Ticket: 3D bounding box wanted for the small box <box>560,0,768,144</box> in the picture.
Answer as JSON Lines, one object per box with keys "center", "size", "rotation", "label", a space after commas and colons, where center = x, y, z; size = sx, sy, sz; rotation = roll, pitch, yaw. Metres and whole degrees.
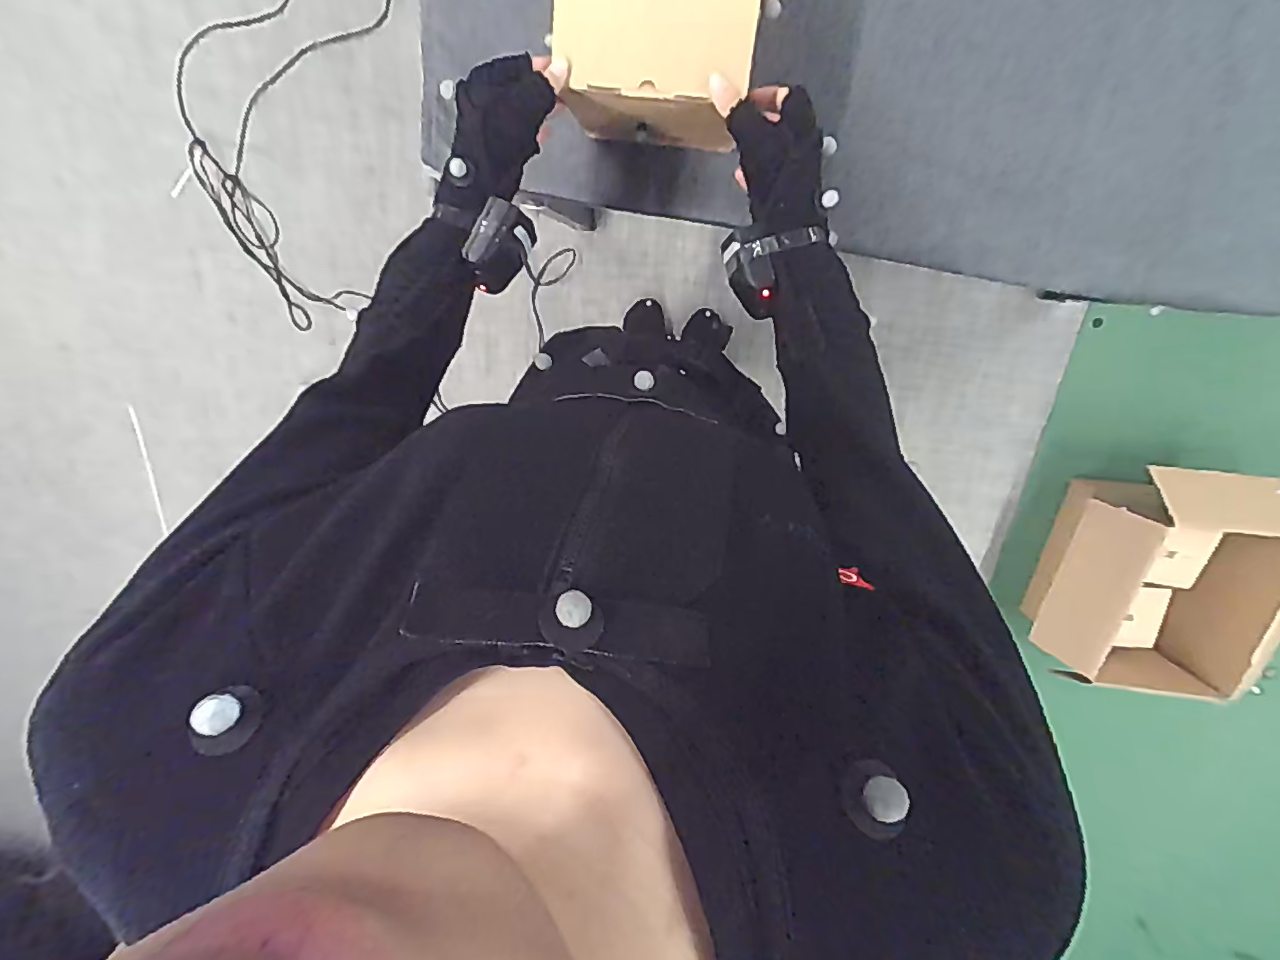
{"center": [0.029, -0.434, 0.495], "size": [0.168, 0.176, 0.179], "rotation": [8, 112, 3], "label": "small box"}
